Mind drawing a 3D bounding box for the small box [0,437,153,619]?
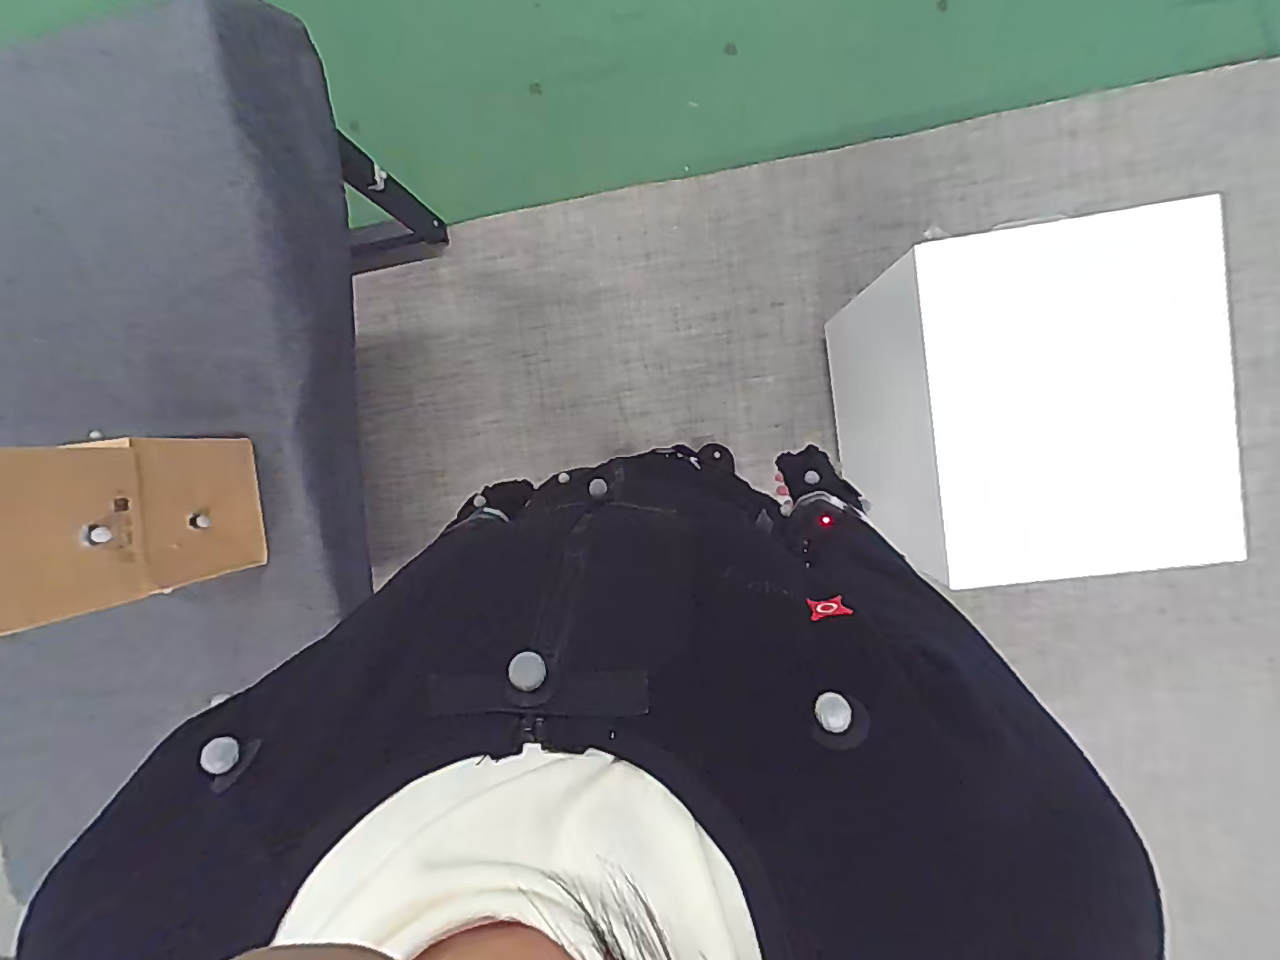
[{"bbox_3d":[-0.640,0.048,0.529,0.179,0.176,0.168,-5,93,9],"label":"small box"}]

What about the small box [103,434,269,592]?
[{"bbox_3d":[-0.615,0.036,0.691,0.168,0.176,0.179,-5,94,7],"label":"small box"}]
